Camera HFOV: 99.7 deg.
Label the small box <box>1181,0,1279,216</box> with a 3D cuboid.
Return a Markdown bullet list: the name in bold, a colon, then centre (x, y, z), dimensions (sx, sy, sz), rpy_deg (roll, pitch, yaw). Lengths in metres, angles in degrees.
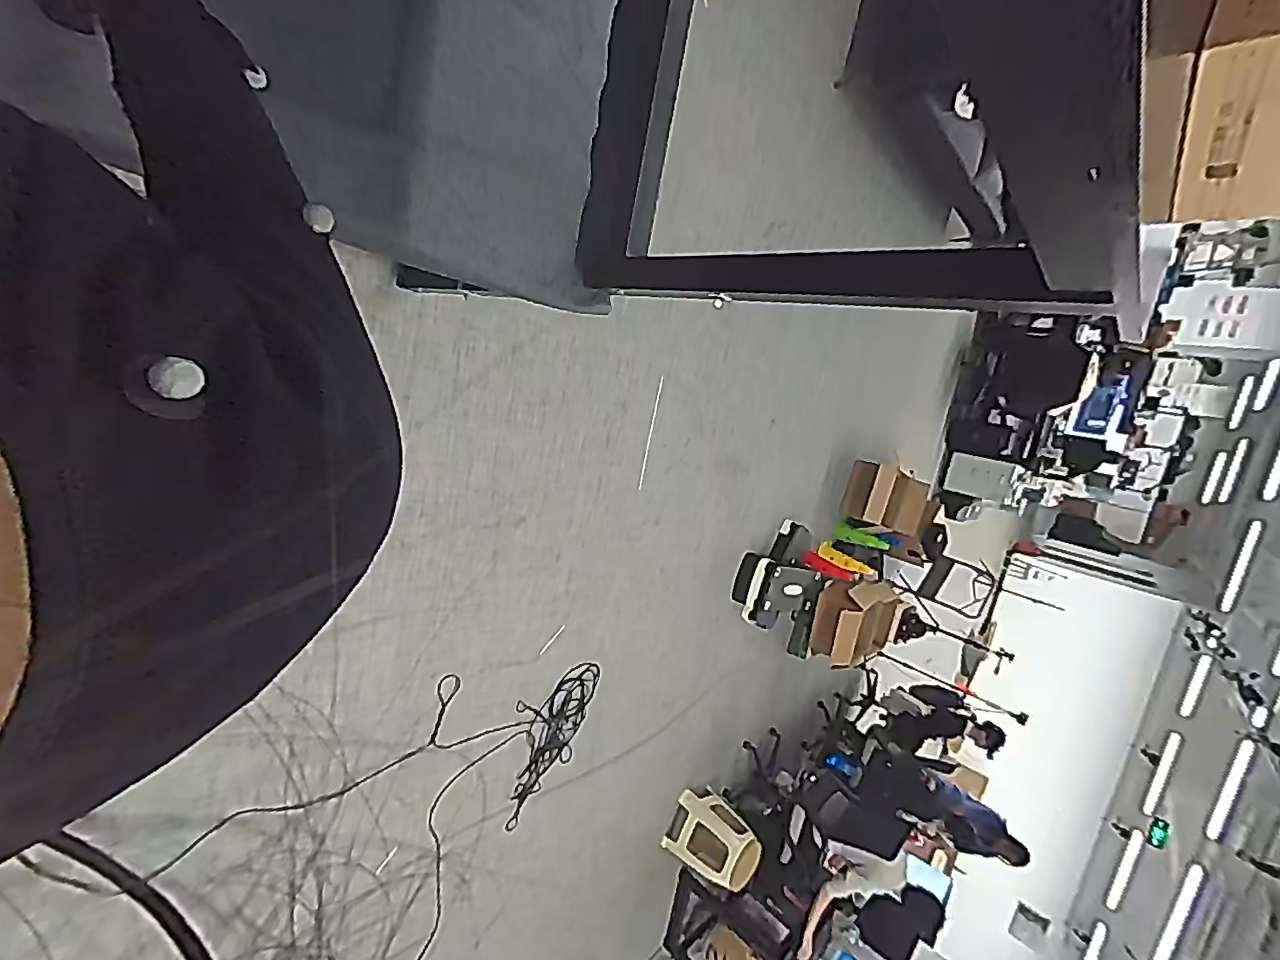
- **small box**: centre (0.416, -0.257, 0.271), dimensions (0.168, 0.176, 0.179), rpy_deg (18, 91, -49)
